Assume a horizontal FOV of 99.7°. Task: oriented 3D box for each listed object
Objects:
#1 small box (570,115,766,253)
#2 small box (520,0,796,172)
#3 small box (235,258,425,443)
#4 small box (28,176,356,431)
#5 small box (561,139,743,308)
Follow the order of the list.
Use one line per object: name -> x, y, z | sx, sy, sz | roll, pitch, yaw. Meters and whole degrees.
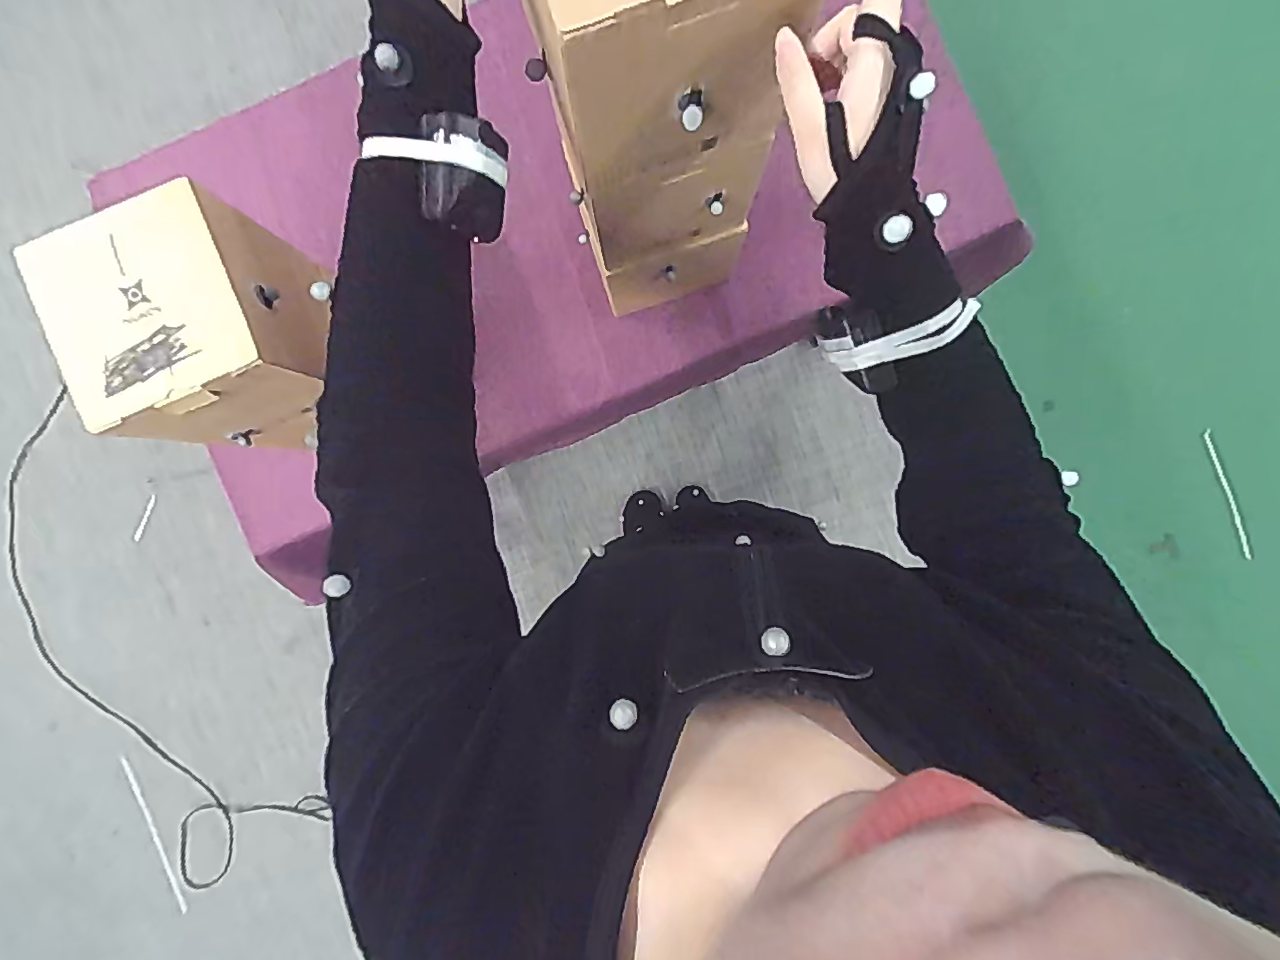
small box -> 0.009, -0.349, 0.534 | 0.168, 0.176, 0.179 | -18, 90, 2
small box -> 0.000, -0.345, 0.370 | 0.168, 0.176, 0.179 | -19, 91, 1
small box -> -0.422, -0.156, 0.717 | 0.179, 0.176, 0.168 | -22, 90, 2
small box -> -0.430, -0.157, 0.552 | 0.168, 0.176, 0.179 | -22, 89, 1
small box -> 0.018, -0.343, 0.697 | 0.179, 0.176, 0.168 | -17, 91, 2
